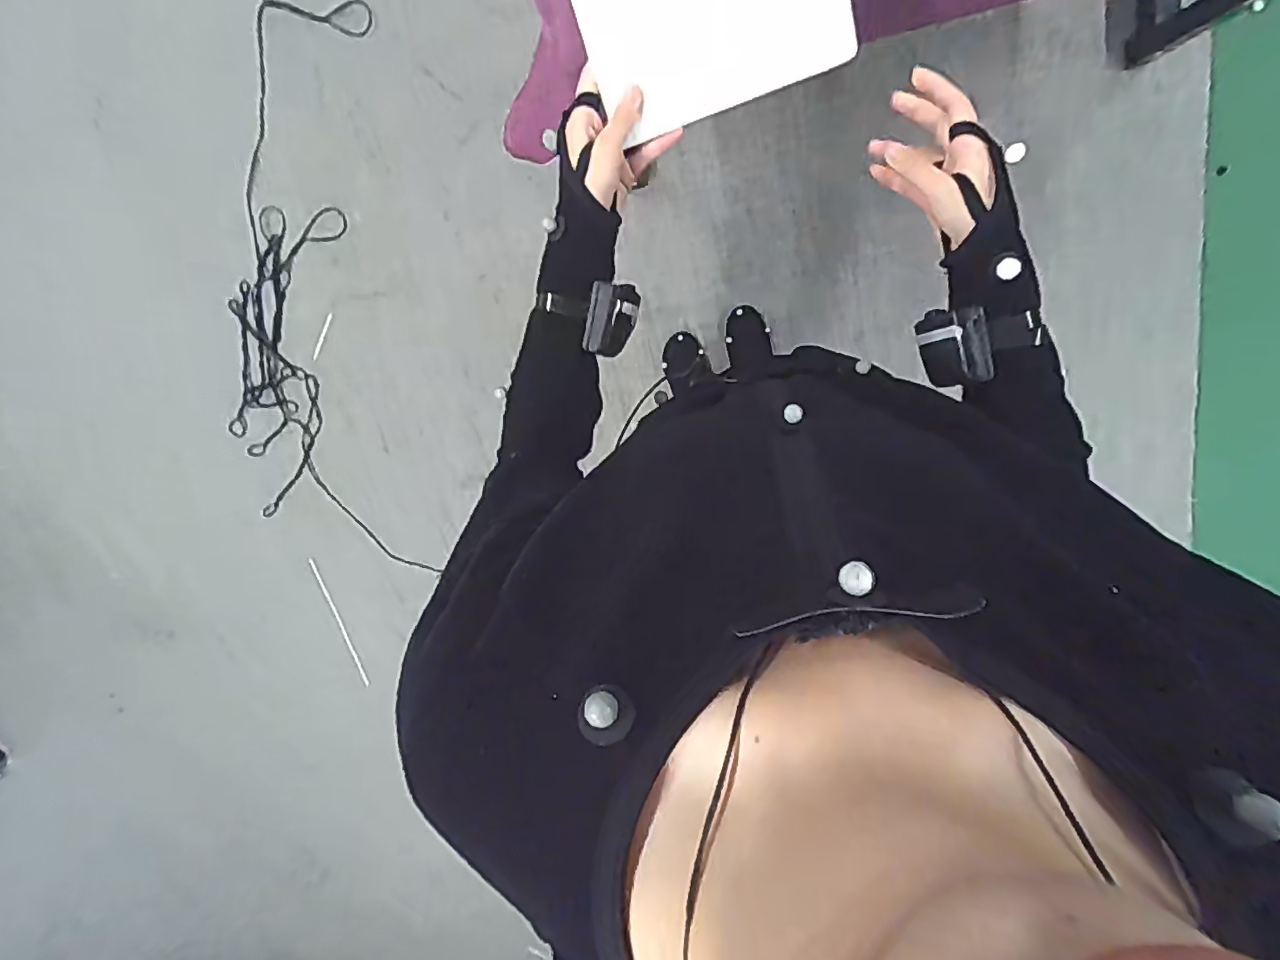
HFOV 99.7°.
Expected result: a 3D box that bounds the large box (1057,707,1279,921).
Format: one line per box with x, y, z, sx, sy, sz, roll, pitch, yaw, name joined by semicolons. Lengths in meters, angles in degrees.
1.511;0.917;1.515;0.408;0.320;0.320;-26;102;10;large box
